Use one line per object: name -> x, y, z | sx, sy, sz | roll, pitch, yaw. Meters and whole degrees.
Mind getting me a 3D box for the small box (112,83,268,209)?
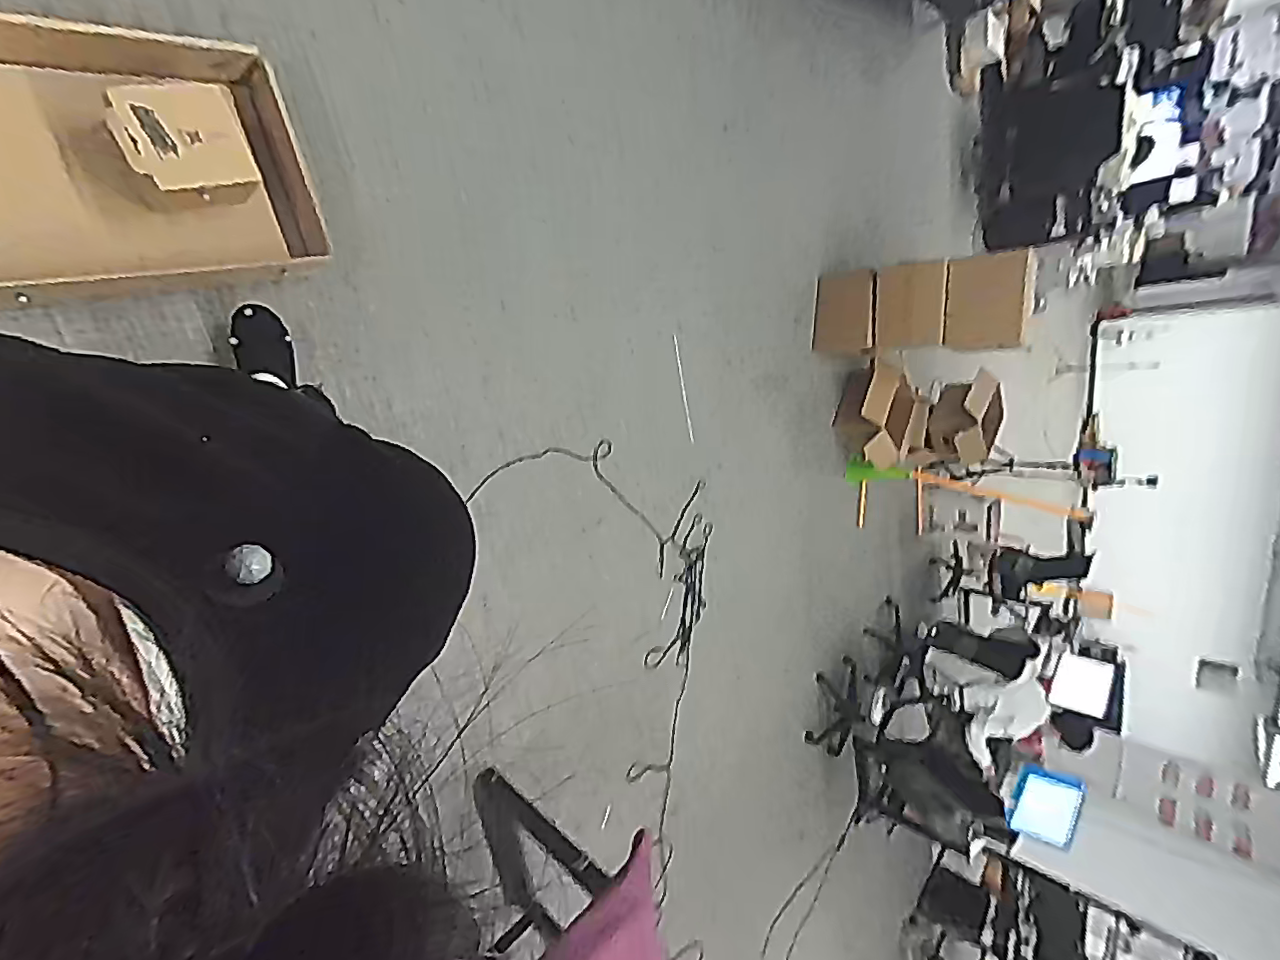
small box -> -0.872, -0.645, 1.054 | 0.179, 0.176, 0.168 | -33, 118, -36
